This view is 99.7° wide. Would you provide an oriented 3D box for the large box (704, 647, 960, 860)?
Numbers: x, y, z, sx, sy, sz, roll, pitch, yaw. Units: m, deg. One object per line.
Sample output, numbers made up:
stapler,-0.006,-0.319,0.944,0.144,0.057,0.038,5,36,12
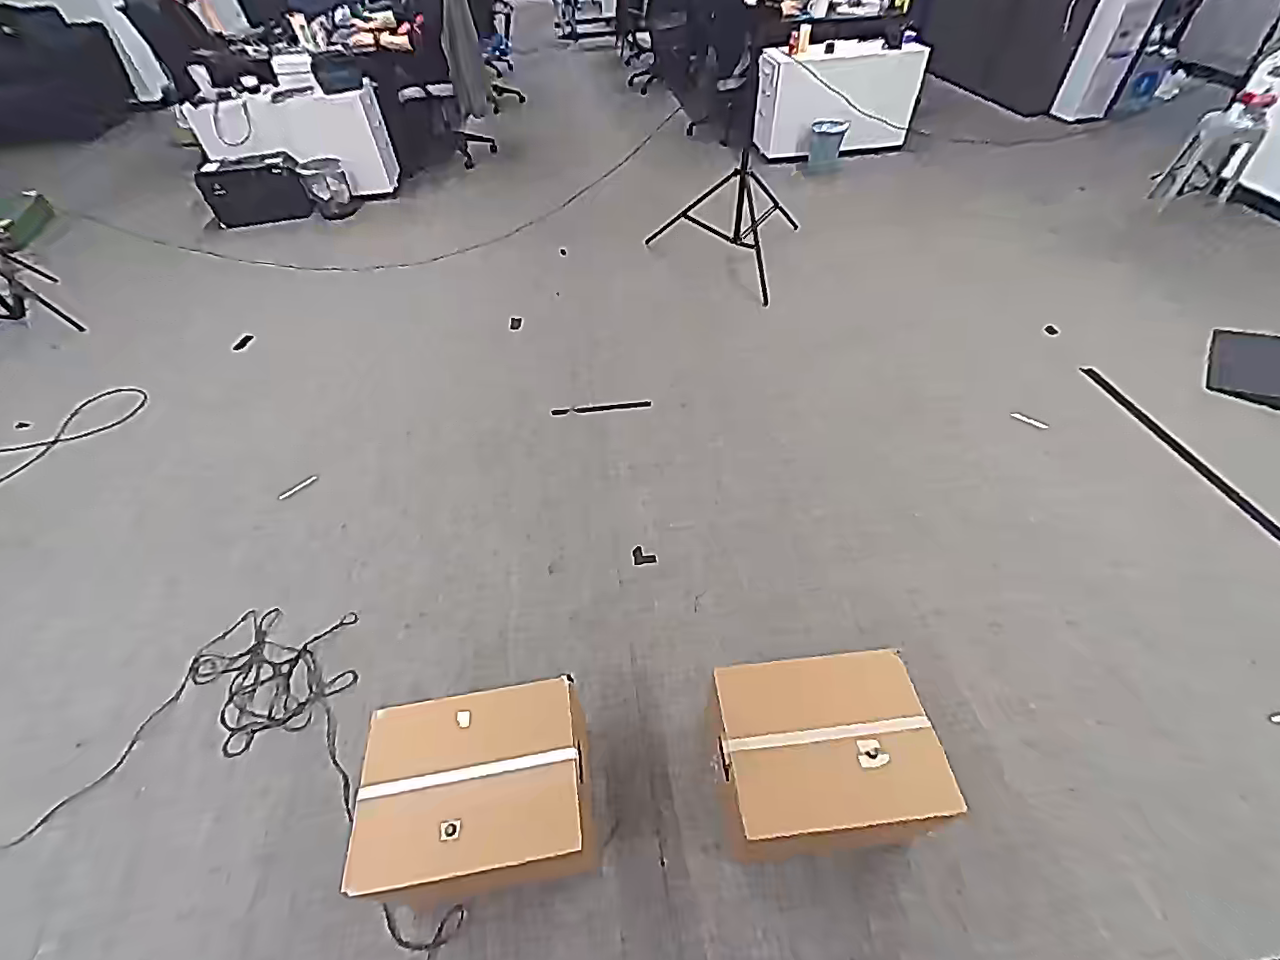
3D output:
large box,0.372,0.596,1.175,0.408,0.320,0.320,-5,48,-3
